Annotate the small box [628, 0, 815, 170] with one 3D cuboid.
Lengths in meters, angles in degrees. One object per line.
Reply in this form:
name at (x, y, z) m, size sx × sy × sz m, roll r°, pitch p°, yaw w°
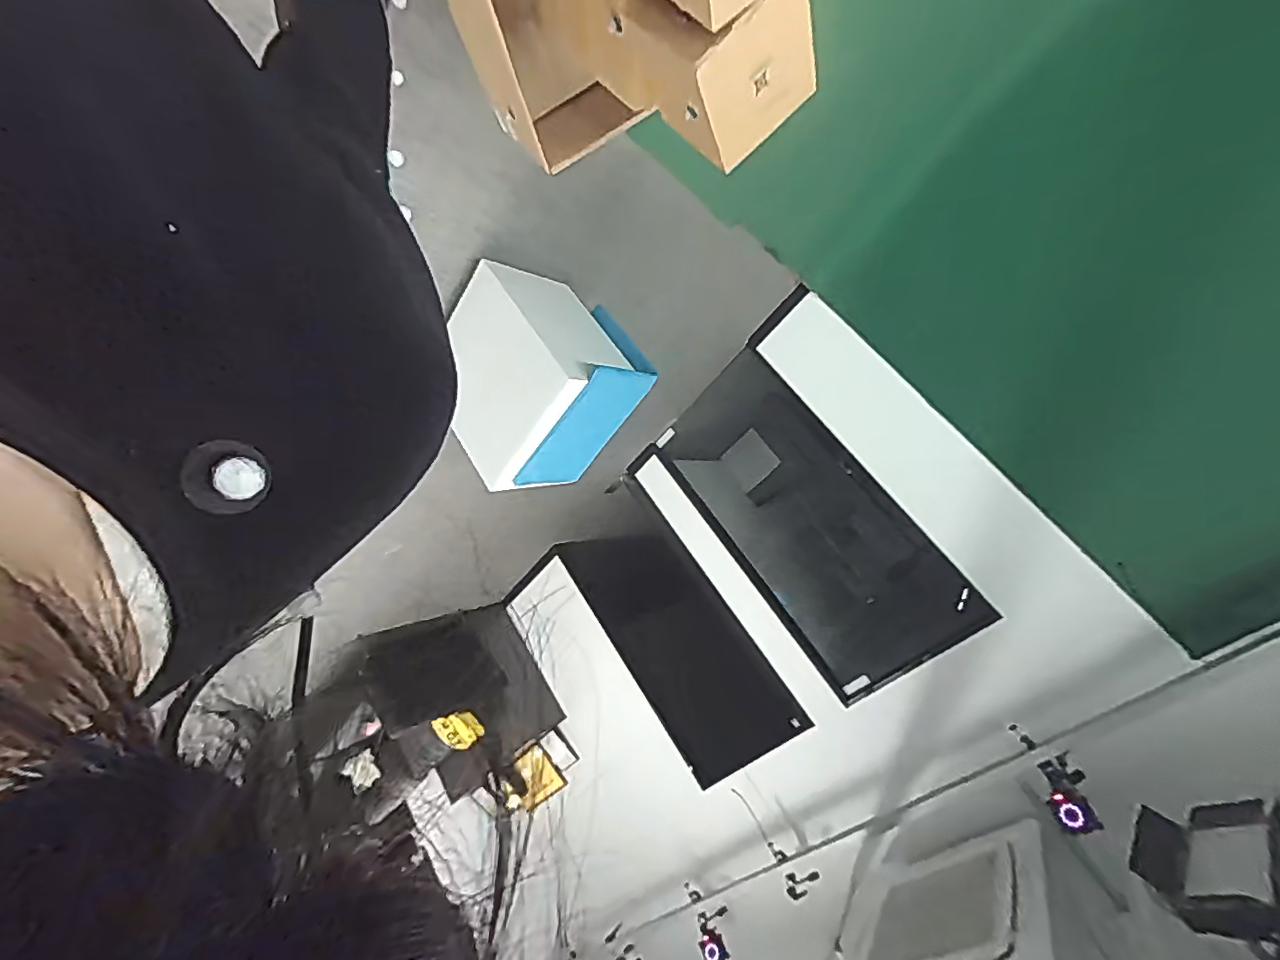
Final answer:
small box at (0.110, -0.574, 0.723) m, size 0.168 × 0.176 × 0.179 m, roll -40°, pitch 157°, yaw 8°
